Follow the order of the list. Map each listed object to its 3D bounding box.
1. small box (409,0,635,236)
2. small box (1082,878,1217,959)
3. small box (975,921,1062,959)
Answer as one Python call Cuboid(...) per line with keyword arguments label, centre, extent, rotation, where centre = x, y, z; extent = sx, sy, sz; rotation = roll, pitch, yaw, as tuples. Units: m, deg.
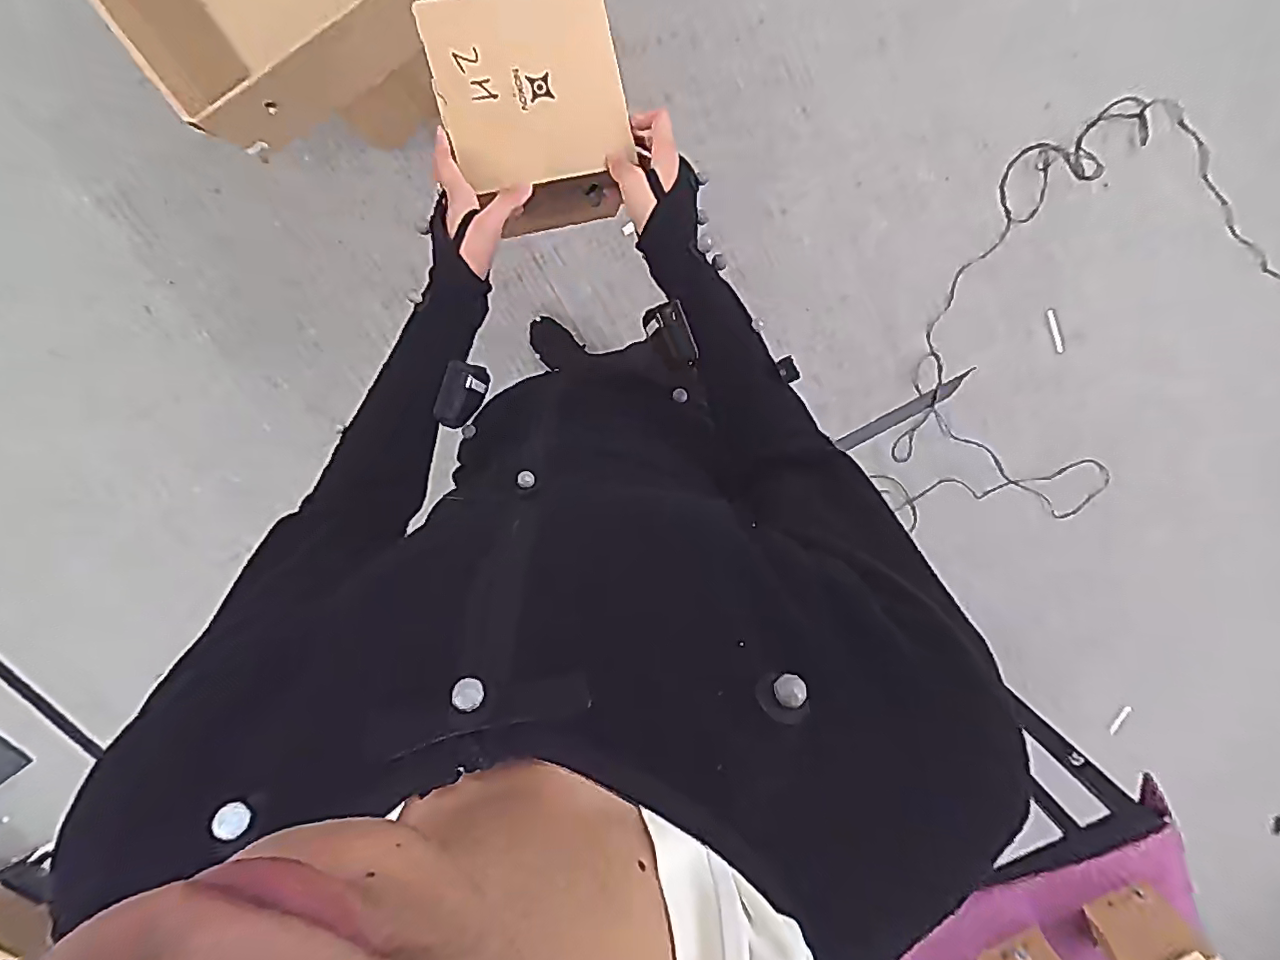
Cuboid(label="small box", centre=(-0.120, -0.381, 0.581), extent=(0.179, 0.176, 0.168), rotation=(-15, 102, -7))
Cuboid(label="small box", centre=(1.188, 1.079, 1.264), extent=(0.168, 0.176, 0.179), rotation=(-30, 109, 5))
Cuboid(label="small box", centre=(0.947, 1.210, 1.285), extent=(0.168, 0.176, 0.179), rotation=(-33, 108, 5))
